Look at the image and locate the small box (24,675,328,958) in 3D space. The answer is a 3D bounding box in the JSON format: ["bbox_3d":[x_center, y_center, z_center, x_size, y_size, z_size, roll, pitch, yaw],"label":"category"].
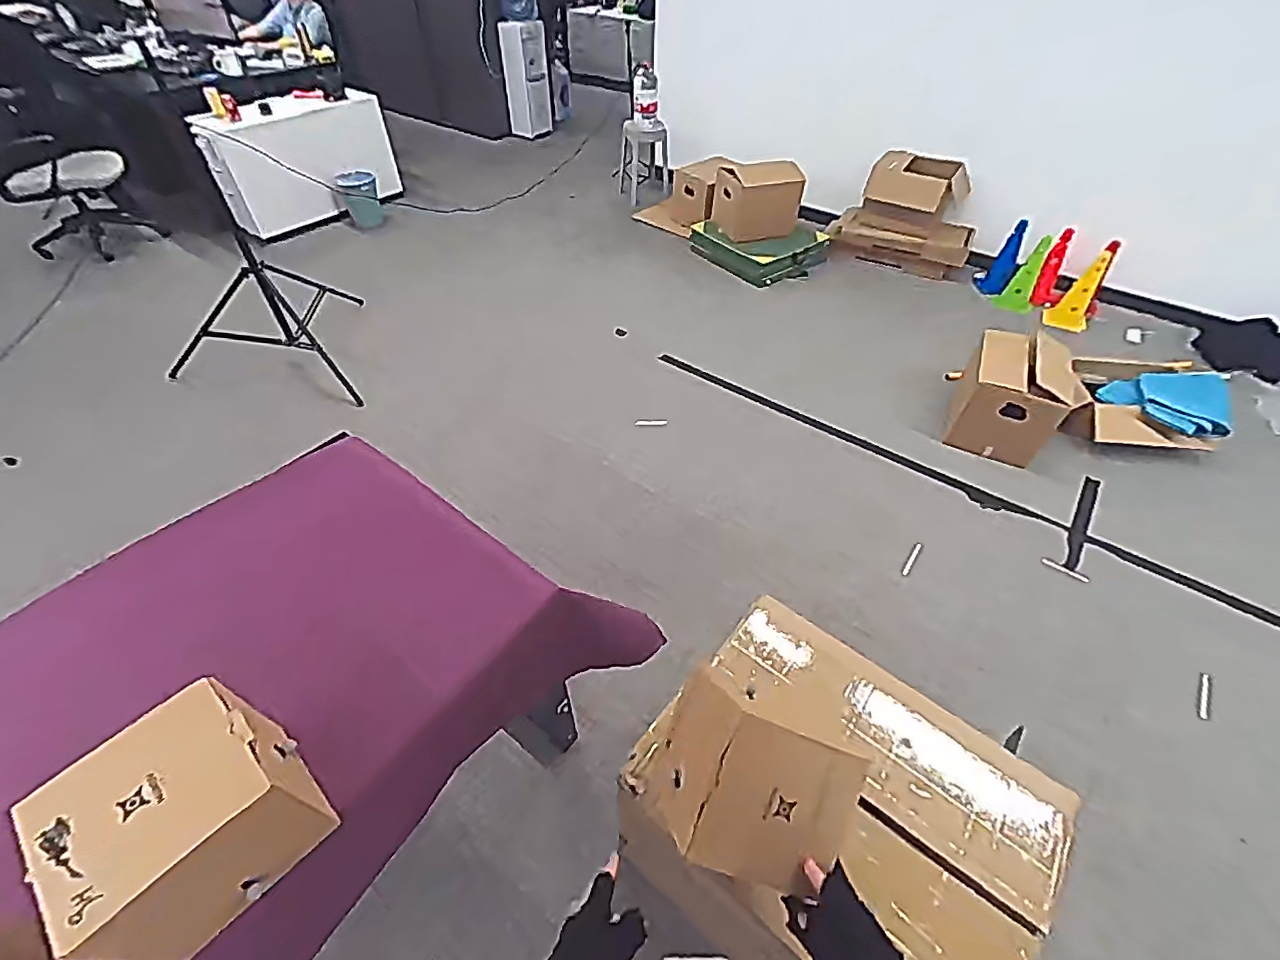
[{"bbox_3d":[-0.468,0.354,0.577,0.168,0.176,0.179,33,54,27],"label":"small box"}]

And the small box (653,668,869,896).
[{"bbox_3d":[0.134,0.351,0.663,0.179,0.176,0.168,23,85,-12],"label":"small box"}]
